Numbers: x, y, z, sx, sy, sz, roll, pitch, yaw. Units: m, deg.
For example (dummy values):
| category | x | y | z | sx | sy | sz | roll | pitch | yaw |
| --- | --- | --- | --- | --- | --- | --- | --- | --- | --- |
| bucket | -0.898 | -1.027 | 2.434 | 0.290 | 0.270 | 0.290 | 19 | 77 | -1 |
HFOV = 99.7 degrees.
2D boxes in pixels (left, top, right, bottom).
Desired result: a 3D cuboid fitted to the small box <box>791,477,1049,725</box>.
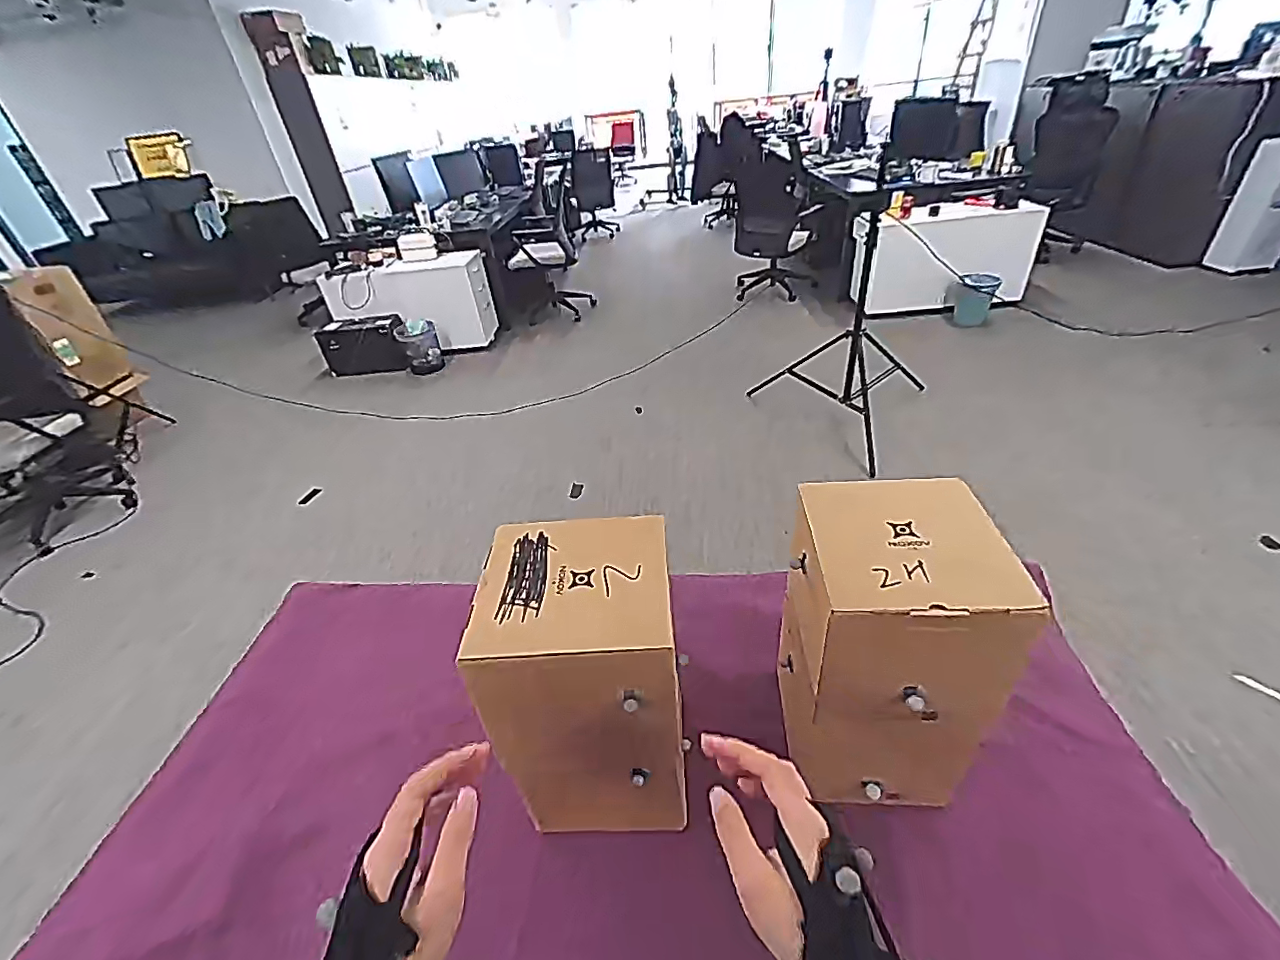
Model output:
| category | x | y | z | sx | sy | sz | roll | pitch | yaw |
| --- | --- | --- | --- | --- | --- | --- | --- | --- | --- |
| small box | 0.248 | 0.115 | 0.537 | 0.168 | 0.176 | 0.179 | -3 | 36 | 7 |

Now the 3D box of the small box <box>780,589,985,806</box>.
| category | x | y | z | sx | sy | sz | roll | pitch | yaw |
| --- | --- | --- | --- | --- | --- | --- | --- | --- | --- |
| small box | 0.261 | 0.248 | 0.634 | 0.168 | 0.176 | 0.179 | -2 | 36 | 7 |

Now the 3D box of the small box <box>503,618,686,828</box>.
| category | x | y | z | sx | sy | sz | roll | pitch | yaw |
| --- | --- | --- | --- | --- | --- | --- | --- | --- | --- |
| small box | -0.040 | 0.284 | 0.635 | 0.179 | 0.176 | 0.168 | -3 | 35 | 4 |
